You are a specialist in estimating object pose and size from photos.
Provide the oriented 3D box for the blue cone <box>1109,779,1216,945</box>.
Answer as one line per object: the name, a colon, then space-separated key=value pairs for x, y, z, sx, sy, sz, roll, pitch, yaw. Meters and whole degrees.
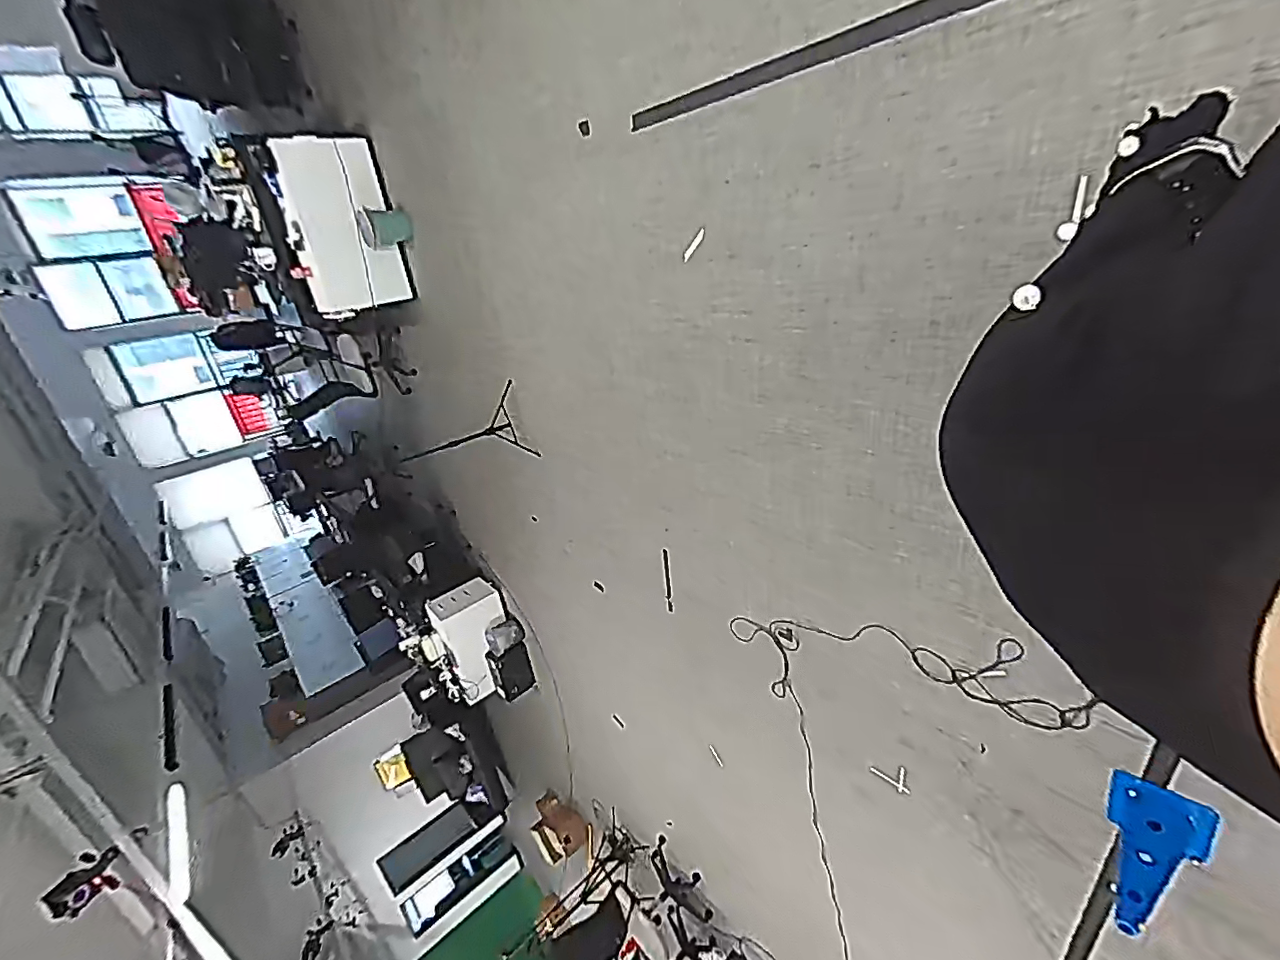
blue cone: x=1.231 y=0.944 z=1.312 sx=0.192 sy=0.380 sz=0.193 roll=15 pitch=124 yaw=47
